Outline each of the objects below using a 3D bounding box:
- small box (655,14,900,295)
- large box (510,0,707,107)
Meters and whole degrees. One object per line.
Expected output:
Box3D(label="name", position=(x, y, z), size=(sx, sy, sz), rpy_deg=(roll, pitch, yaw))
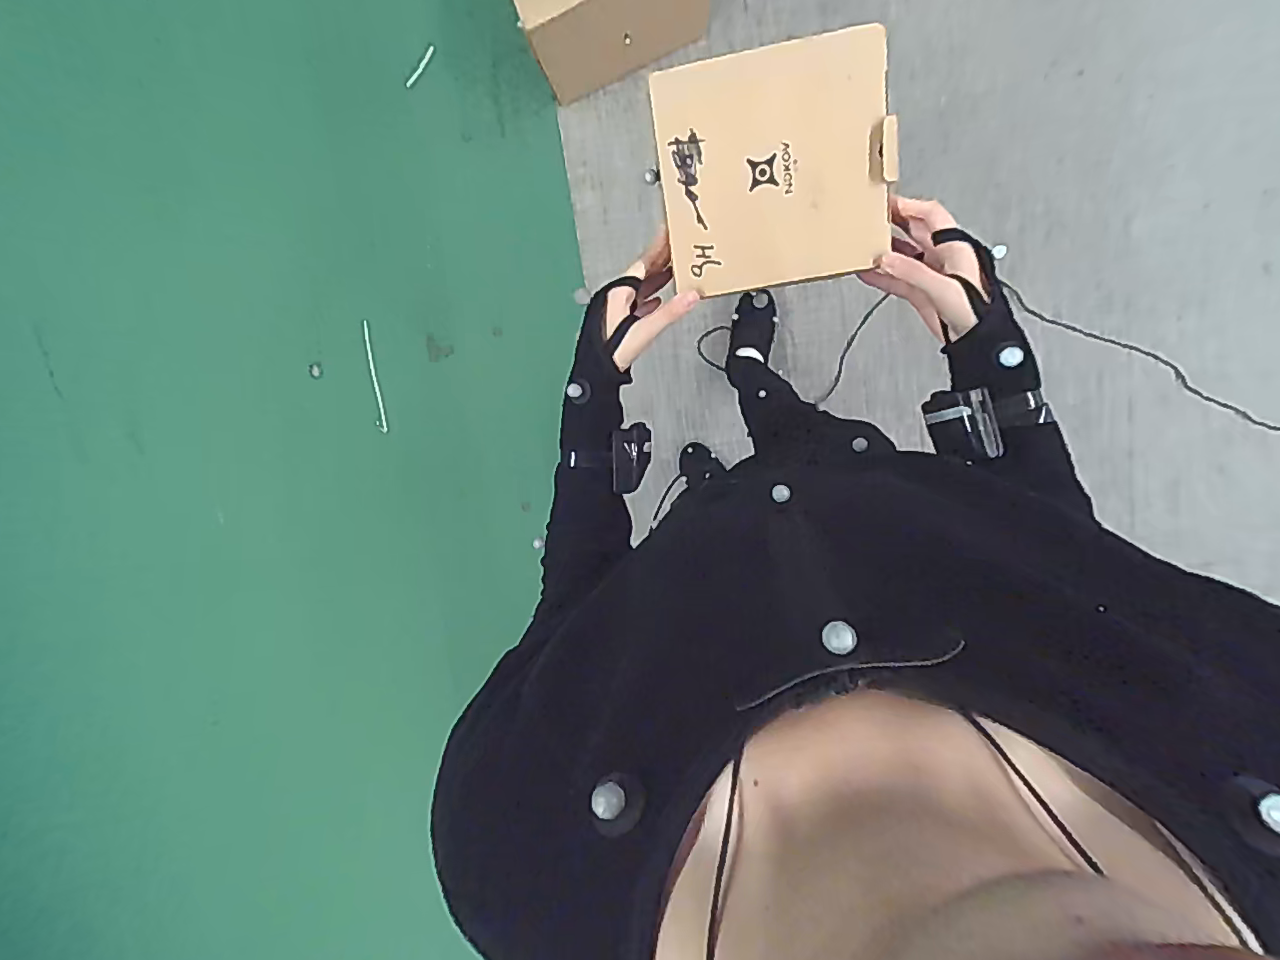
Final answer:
Box3D(label="small box", position=(0.109, -0.265, 0.485), size=(0.179, 0.176, 0.168), rpy_deg=(-7, 106, 4))
Box3D(label="large box", position=(-0.092, -1.140, 1.197), size=(0.408, 0.320, 0.320), rpy_deg=(-21, 95, 10))
